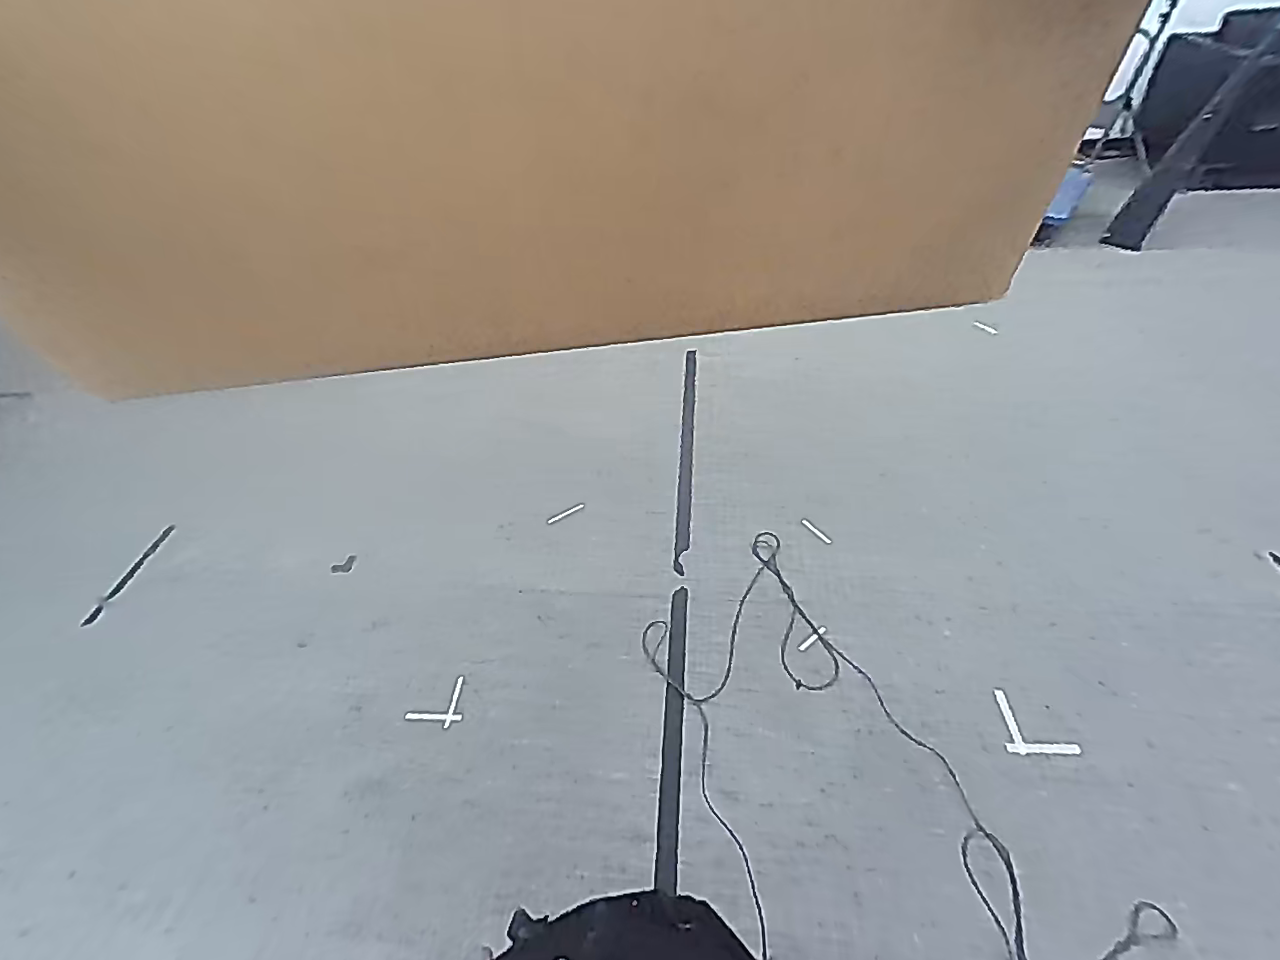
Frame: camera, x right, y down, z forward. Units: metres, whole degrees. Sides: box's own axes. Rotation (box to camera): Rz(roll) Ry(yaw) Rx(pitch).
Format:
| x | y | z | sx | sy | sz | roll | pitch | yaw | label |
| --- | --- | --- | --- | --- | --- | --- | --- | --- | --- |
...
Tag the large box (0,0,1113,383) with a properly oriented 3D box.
| x | y | z | sx | sy | sz | roll | pitch | yaw | label |
| --- | --- | --- | --- | --- | --- | --- | --- | --- | --- |
| -0.063 | -0.271 | 0.227 | 0.408 | 0.320 | 0.320 | -5 | 52 | 1 | large box |
